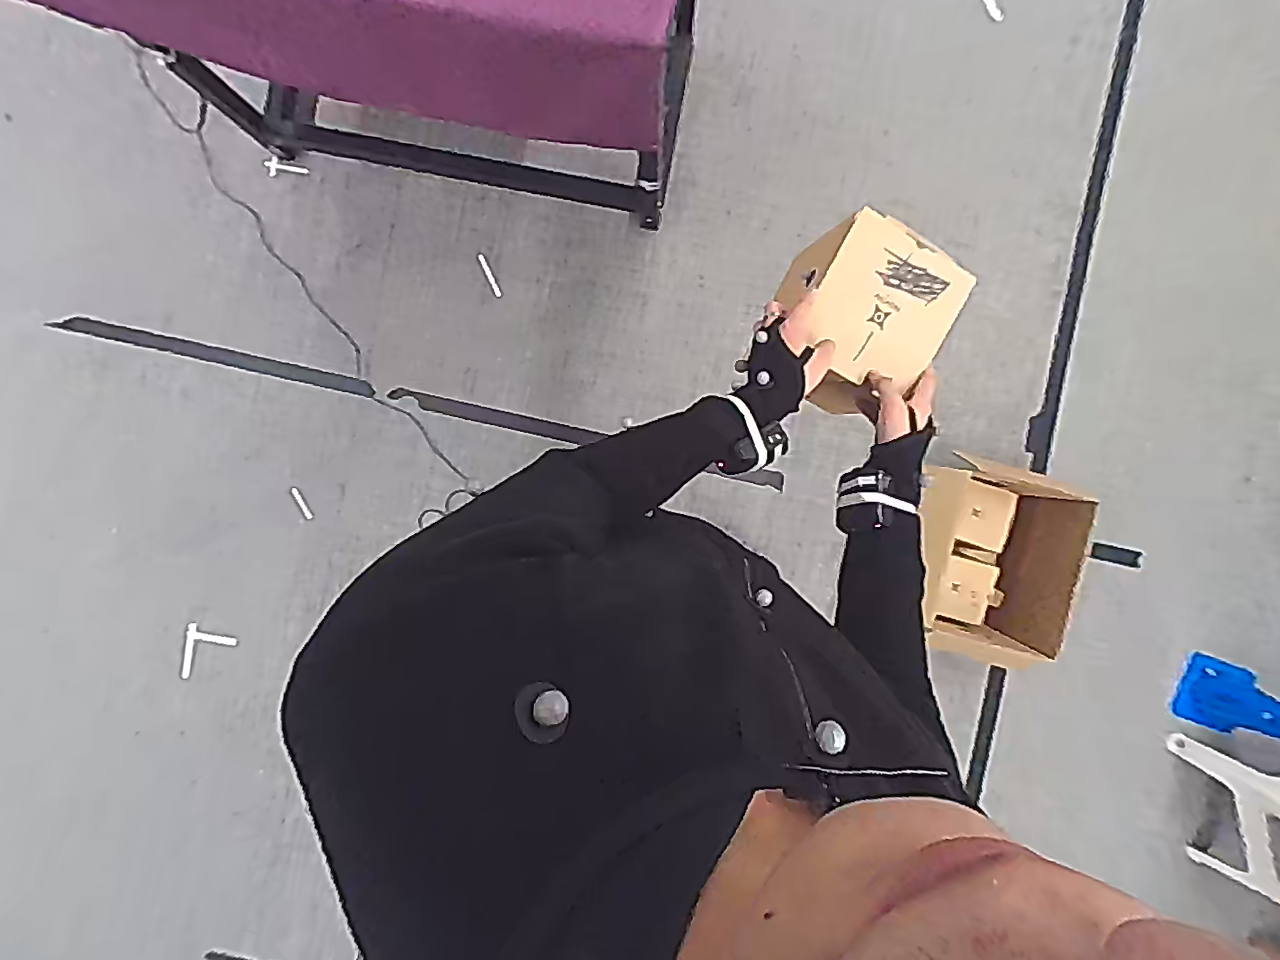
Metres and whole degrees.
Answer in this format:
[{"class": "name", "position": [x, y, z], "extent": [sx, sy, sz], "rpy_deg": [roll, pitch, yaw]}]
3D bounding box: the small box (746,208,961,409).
[{"class": "small box", "position": [0.262, -0.207, 0.708], "extent": [0.168, 0.176, 0.179], "rpy_deg": [26, 91, -9]}]
